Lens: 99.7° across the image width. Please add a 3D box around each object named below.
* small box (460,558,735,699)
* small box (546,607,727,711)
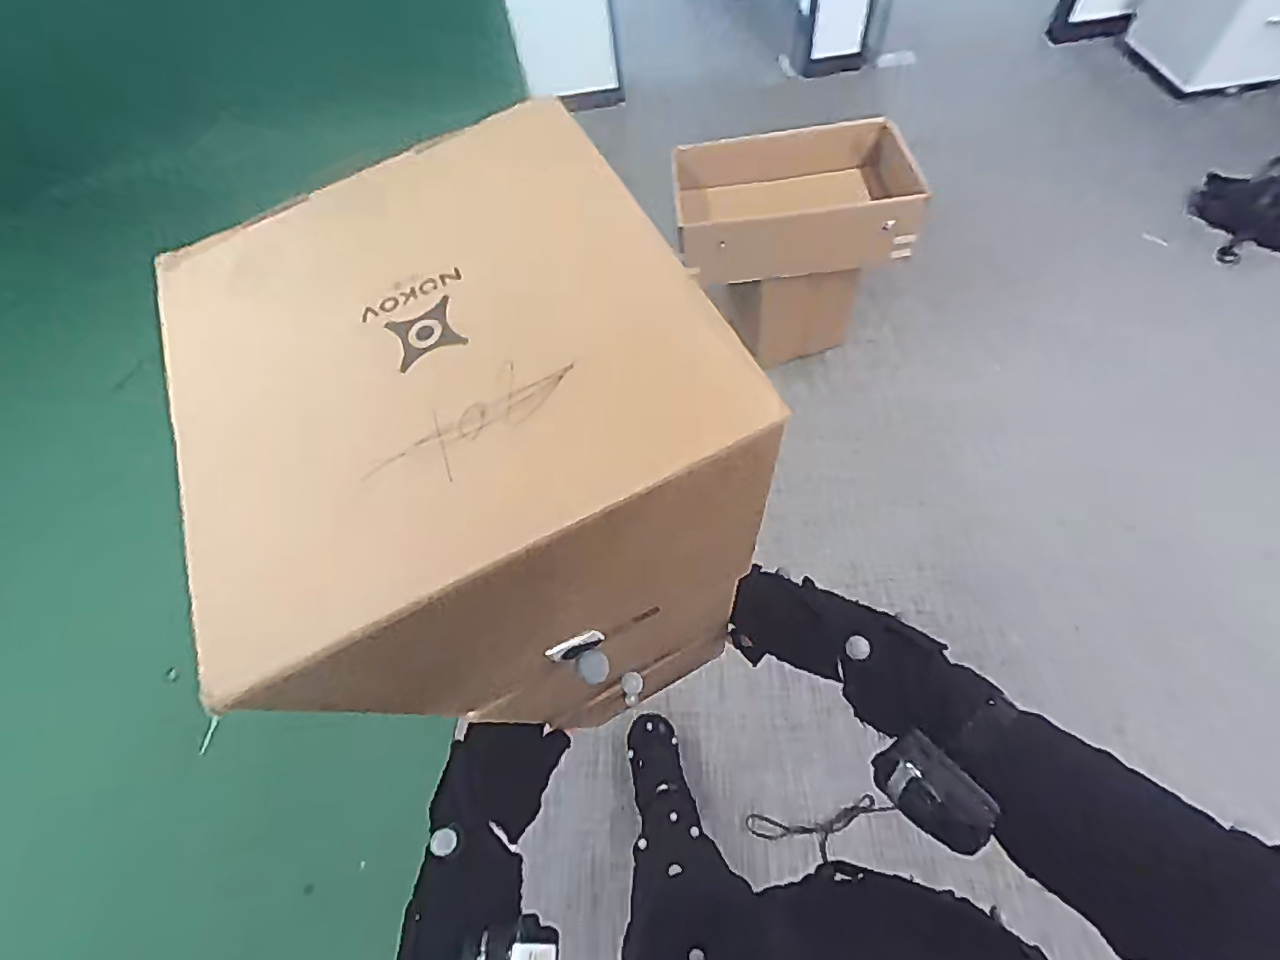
[{"bbox_3d":[-0.047,0.044,0.404,0.168,0.176,0.179,-26,66,-5],"label":"small box"},{"bbox_3d":[-0.027,0.116,0.552,0.168,0.176,0.179,-28,65,-5],"label":"small box"}]
